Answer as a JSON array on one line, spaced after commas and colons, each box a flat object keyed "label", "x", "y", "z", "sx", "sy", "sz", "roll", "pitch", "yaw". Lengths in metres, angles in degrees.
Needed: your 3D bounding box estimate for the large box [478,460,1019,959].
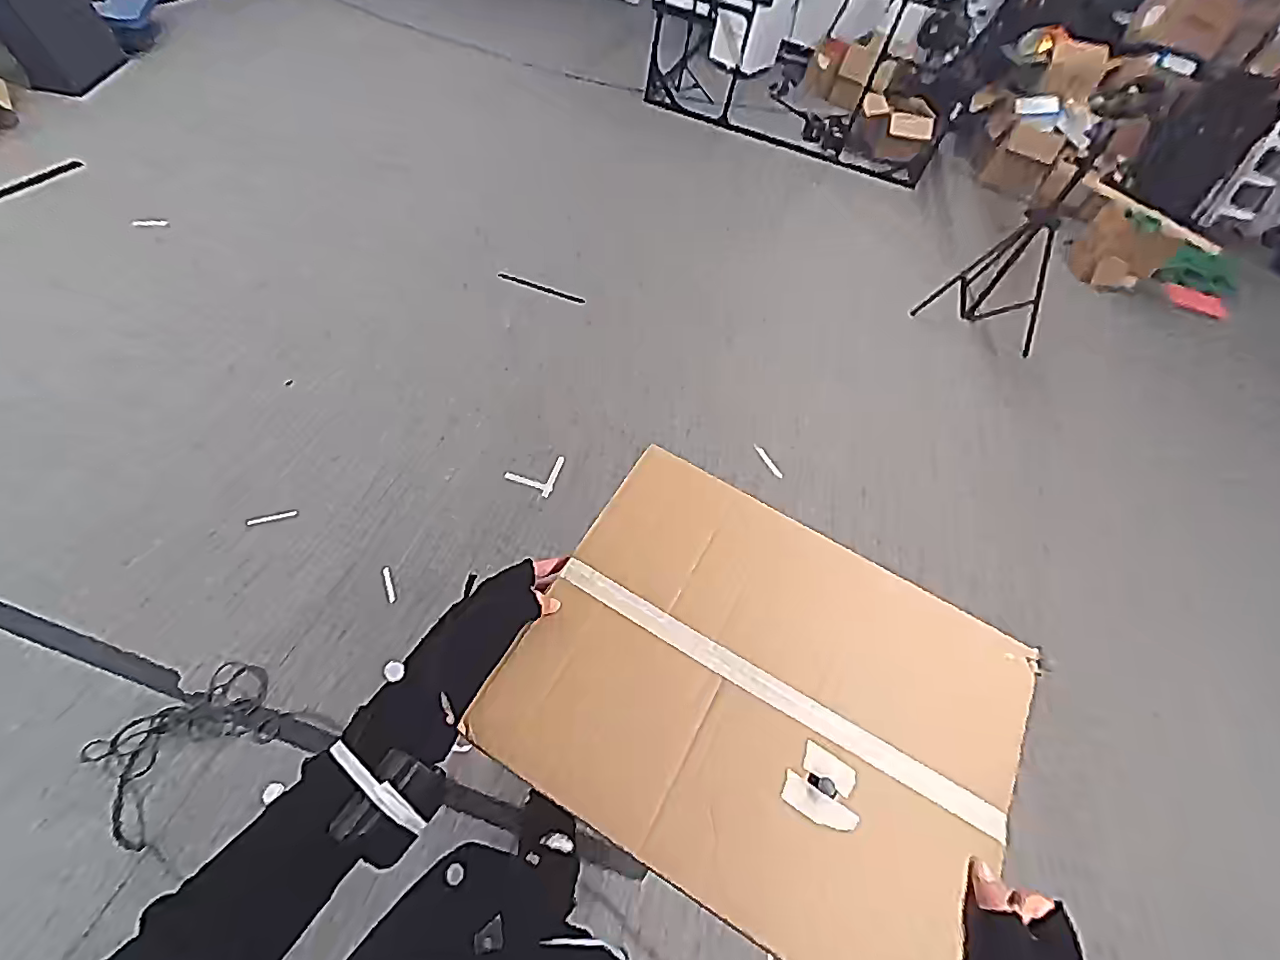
[{"label": "large box", "x": 0.096, "y": 0.250, "z": 0.600, "sx": 0.408, "sy": 0.320, "sz": 0.320, "roll": 30, "pitch": 64, "yaw": 10}]
